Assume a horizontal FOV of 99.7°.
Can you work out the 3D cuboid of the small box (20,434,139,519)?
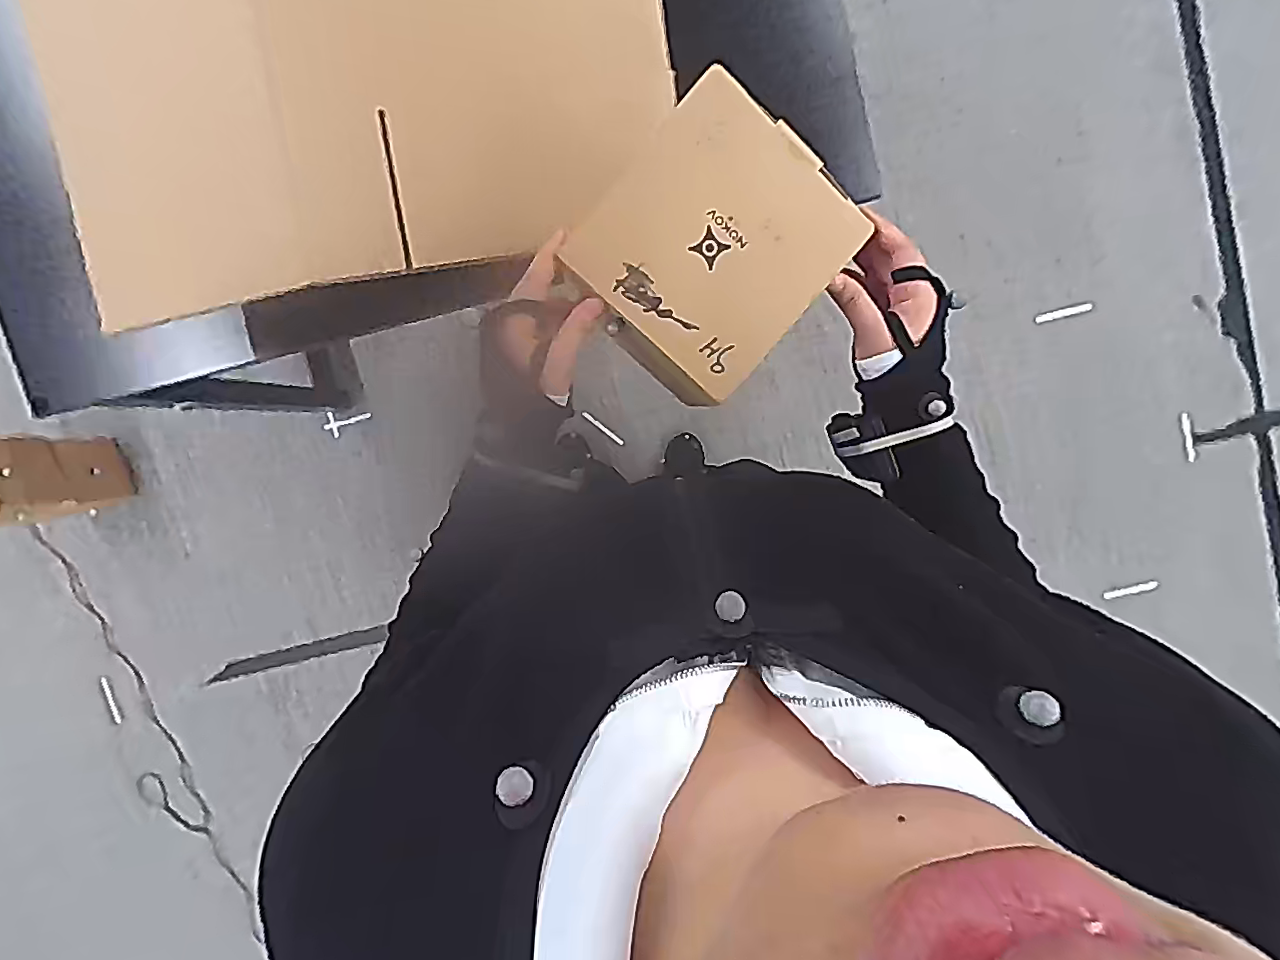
[{"bbox_3d":[-1.492,-0.014,1.418,0.168,0.176,0.179,-18,96,2],"label":"small box"}]

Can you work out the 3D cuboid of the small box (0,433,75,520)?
[{"bbox_3d":[-1.496,-0.004,1.256,0.168,0.176,0.179,-21,94,1],"label":"small box"}]
